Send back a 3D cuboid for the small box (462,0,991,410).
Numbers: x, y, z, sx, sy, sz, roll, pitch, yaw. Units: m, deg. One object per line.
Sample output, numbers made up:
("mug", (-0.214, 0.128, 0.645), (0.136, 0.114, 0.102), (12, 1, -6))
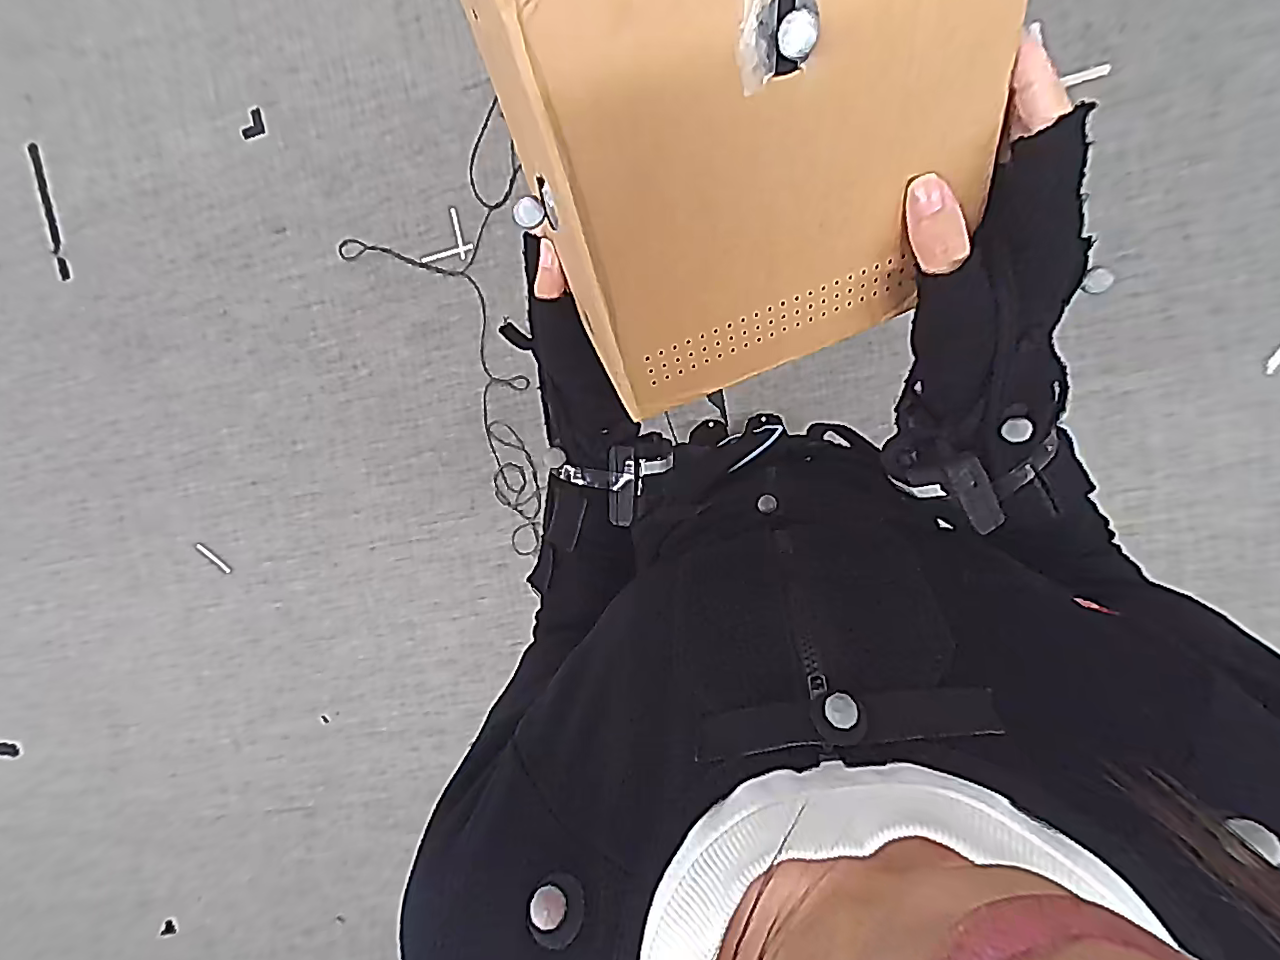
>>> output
("small box", (0.037, -0.161, 0.260), (0.179, 0.168, 0.176), (-22, 135, -2))
